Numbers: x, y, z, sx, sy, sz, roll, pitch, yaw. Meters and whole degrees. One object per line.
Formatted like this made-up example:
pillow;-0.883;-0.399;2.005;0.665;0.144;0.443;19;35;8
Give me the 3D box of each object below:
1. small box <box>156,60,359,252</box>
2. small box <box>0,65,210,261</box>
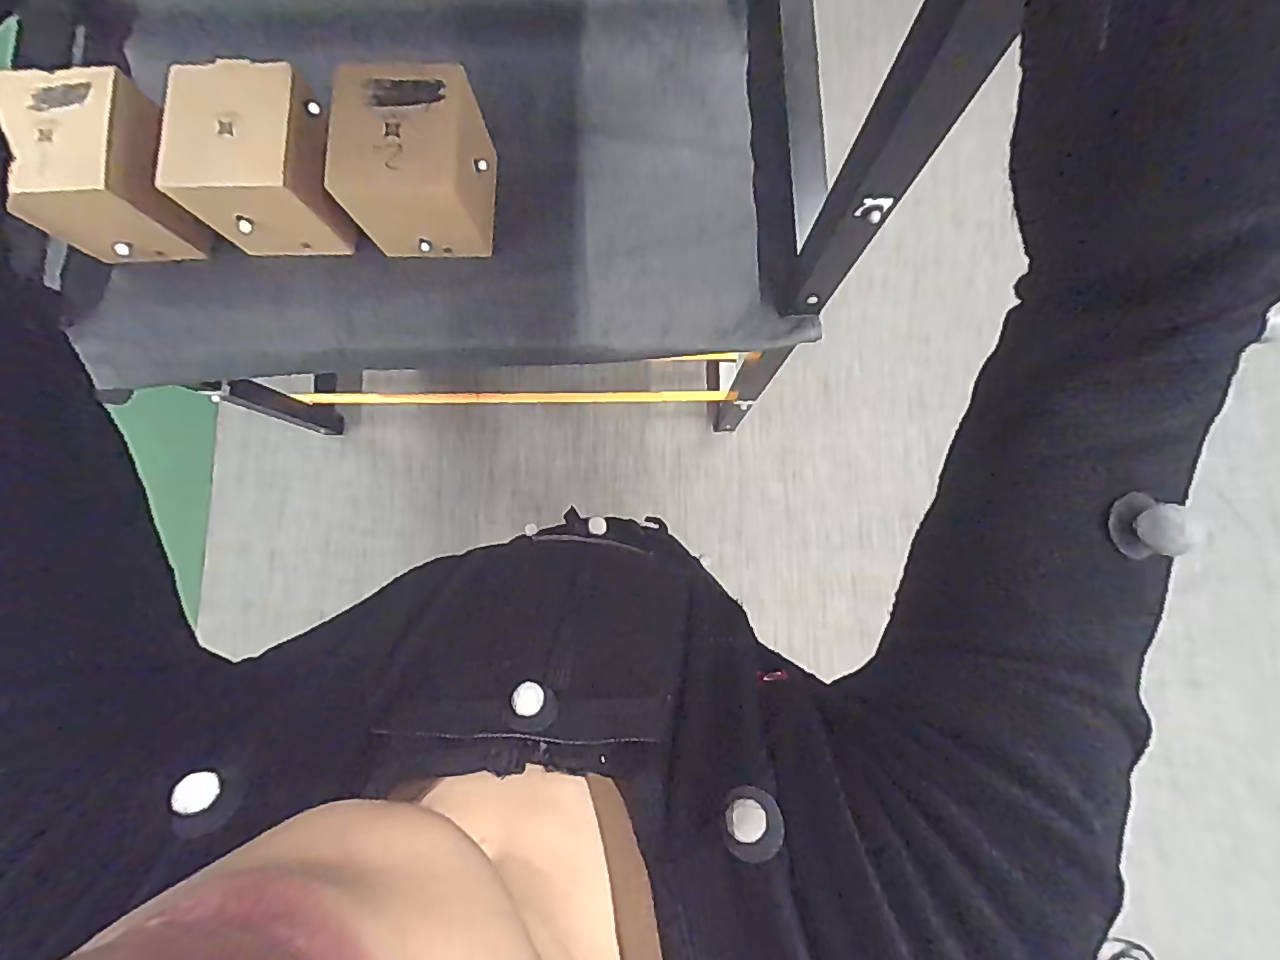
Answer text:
small box;-0.523;-0.443;0.764;0.168;0.176;0.179;0;82;0
small box;-0.750;-0.437;0.765;0.168;0.176;0.179;-3;83;1
